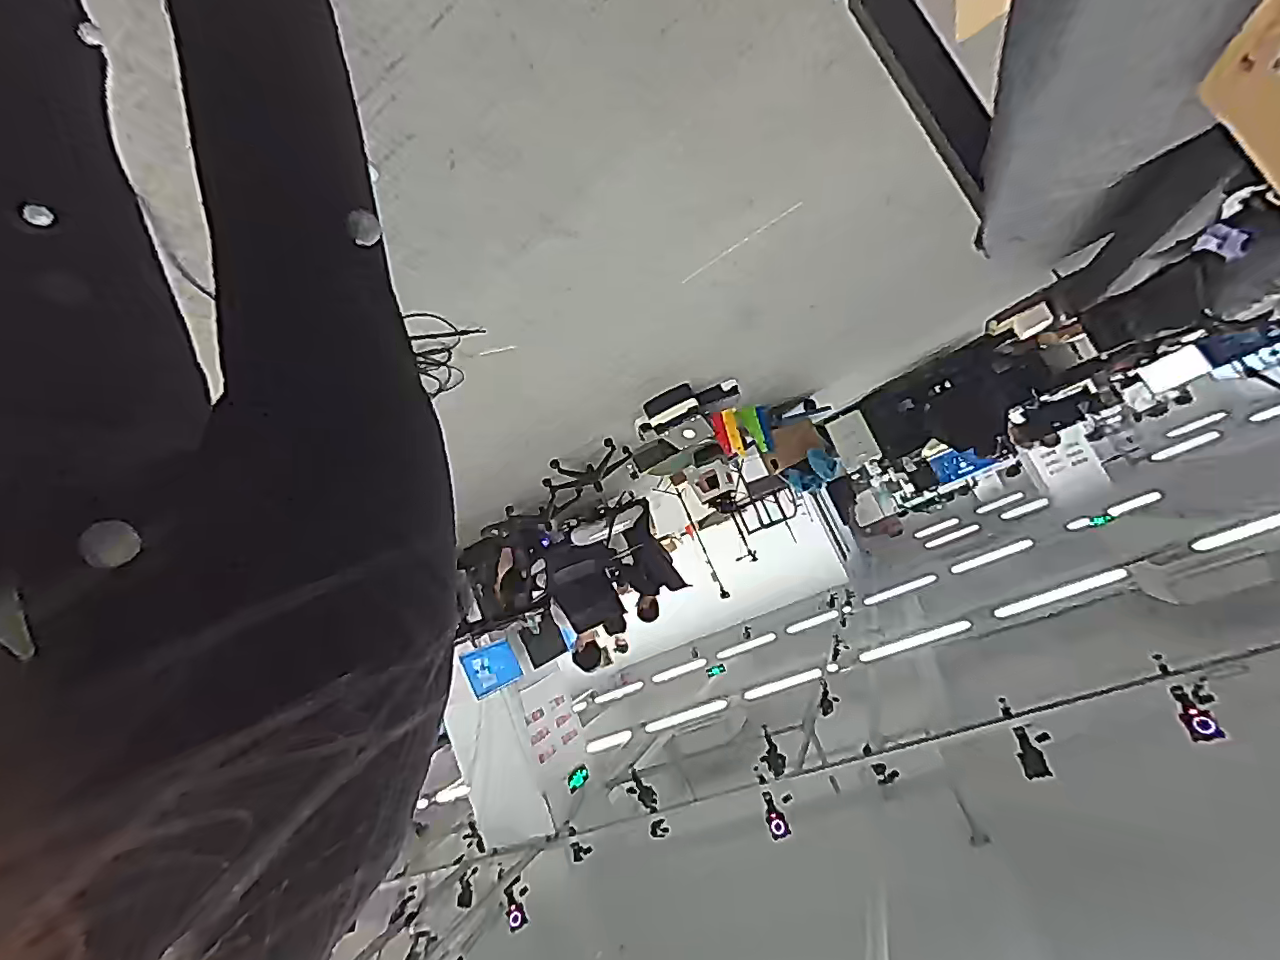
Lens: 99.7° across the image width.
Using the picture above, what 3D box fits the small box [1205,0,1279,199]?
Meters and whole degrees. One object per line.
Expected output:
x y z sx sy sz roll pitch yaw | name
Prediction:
0.614 -0.349 0.410 0.179 0.176 0.168 -27 169 23 | small box
